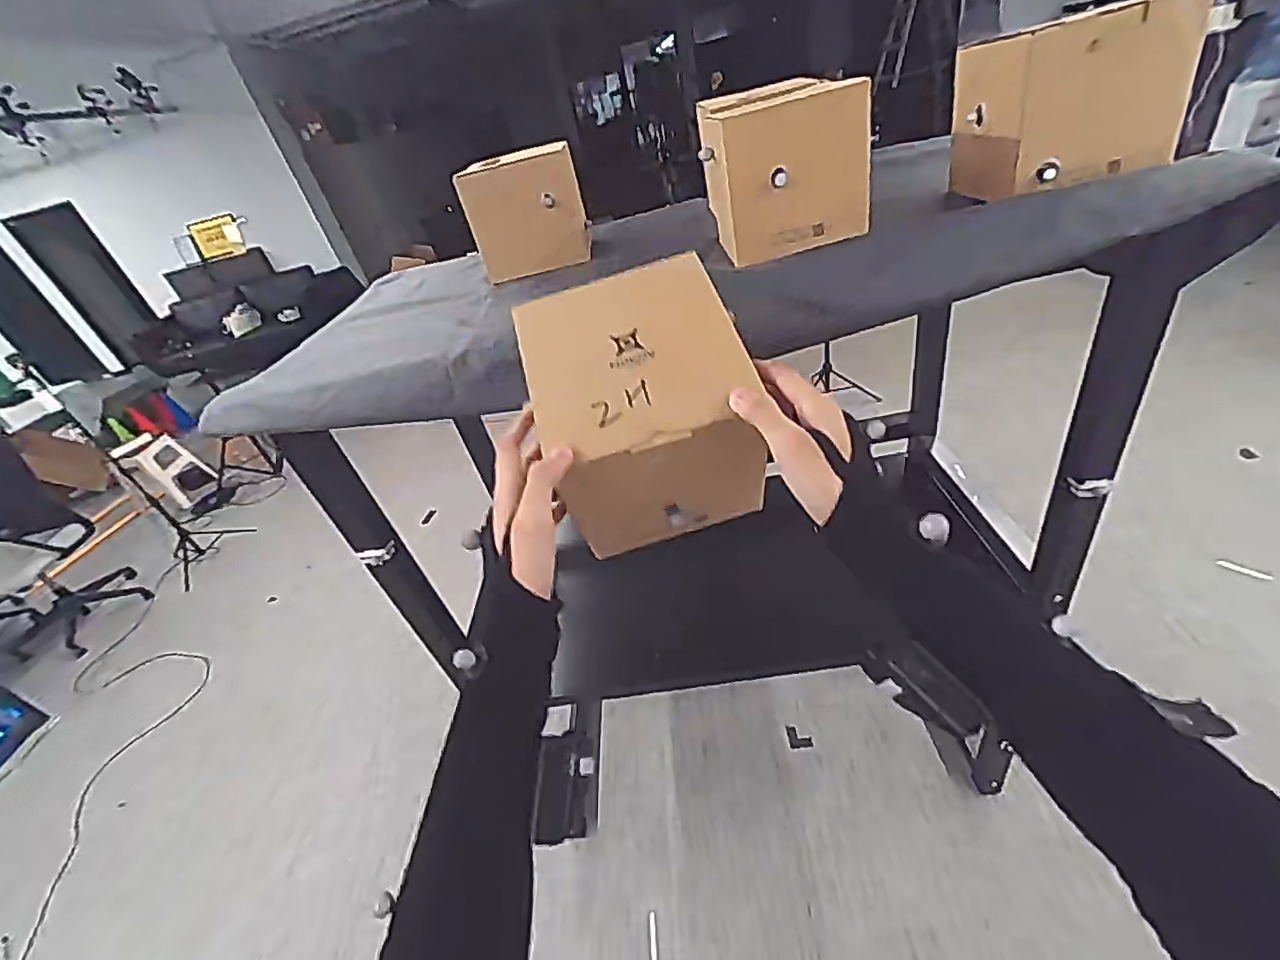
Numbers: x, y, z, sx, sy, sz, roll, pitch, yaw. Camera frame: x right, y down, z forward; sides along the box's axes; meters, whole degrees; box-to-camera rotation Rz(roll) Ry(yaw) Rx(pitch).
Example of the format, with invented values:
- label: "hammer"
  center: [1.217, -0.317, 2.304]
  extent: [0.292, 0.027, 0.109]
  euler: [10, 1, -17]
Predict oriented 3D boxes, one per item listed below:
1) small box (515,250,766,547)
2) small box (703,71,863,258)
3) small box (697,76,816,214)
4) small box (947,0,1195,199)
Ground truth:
- label: "small box"
  center: [0.001, -0.066, 0.489]
  extent: [0.168, 0.176, 0.179]
  euler: [-17, 59, 0]
- label: "small box"
  center: [0.183, -0.403, 0.705]
  extent: [0.168, 0.176, 0.179]
  euler: [-11, 33, 7]
- label: "small box"
  center: [0.194, -0.554, 0.910]
  extent: [0.168, 0.176, 0.179]
  euler: [-11, 34, 6]
- label: "small box"
  center: [0.490, -0.448, 0.644]
  extent: [0.168, 0.176, 0.179]
  euler: [-9, 32, 9]
